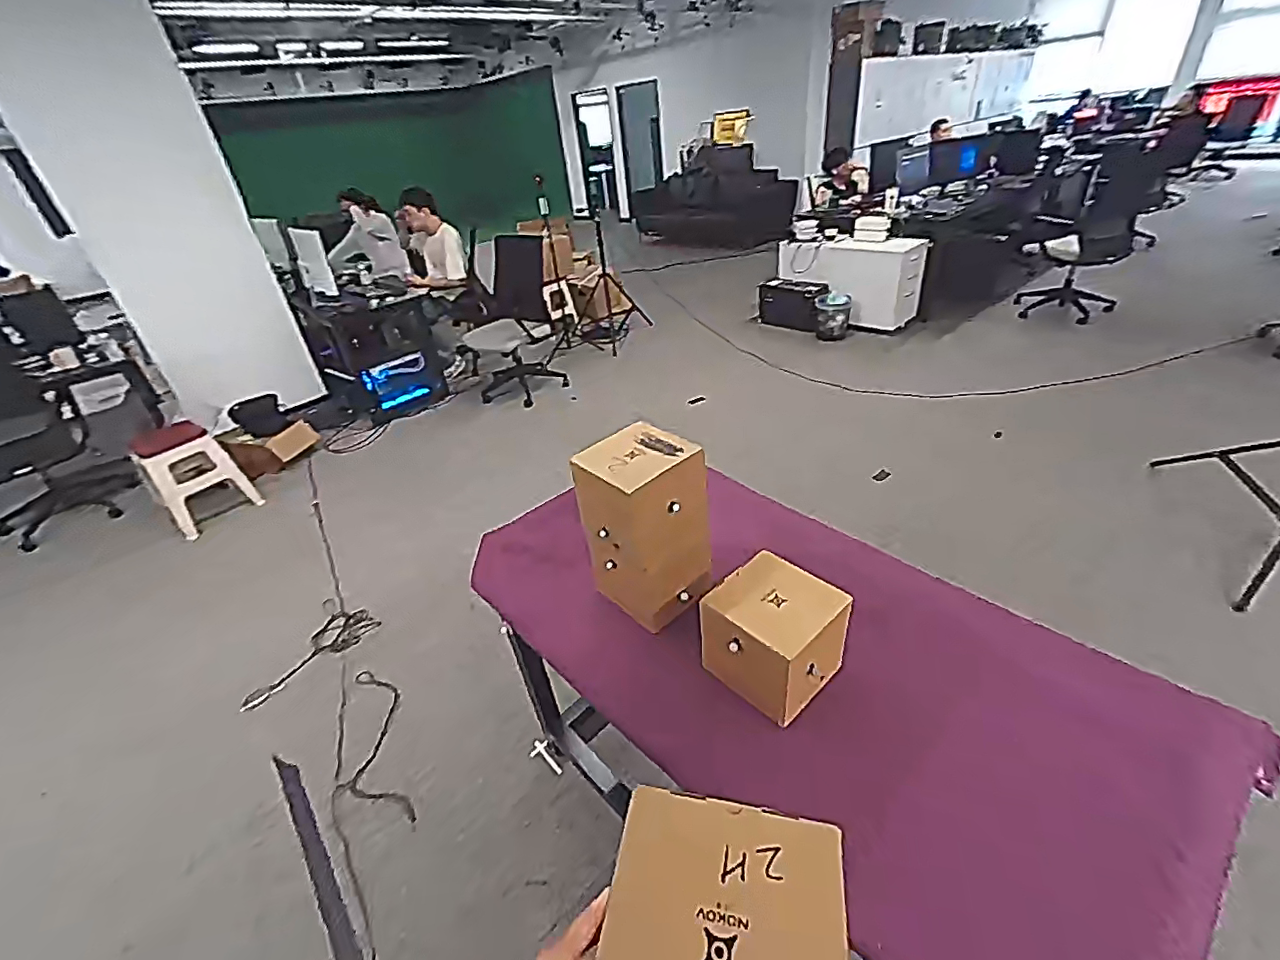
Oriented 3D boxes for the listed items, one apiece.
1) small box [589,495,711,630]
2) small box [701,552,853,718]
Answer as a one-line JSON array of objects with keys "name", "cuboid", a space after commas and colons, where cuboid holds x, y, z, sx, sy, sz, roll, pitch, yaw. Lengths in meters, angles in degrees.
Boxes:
[{"name": "small box", "cuboid": [0.024, 0.161, 1.072, 0.168, 0.176, 0.179, -31, 41, -31]}, {"name": "small box", "cuboid": [0.223, 0.257, 0.892, 0.168, 0.176, 0.179, -31, 39, -31]}]
